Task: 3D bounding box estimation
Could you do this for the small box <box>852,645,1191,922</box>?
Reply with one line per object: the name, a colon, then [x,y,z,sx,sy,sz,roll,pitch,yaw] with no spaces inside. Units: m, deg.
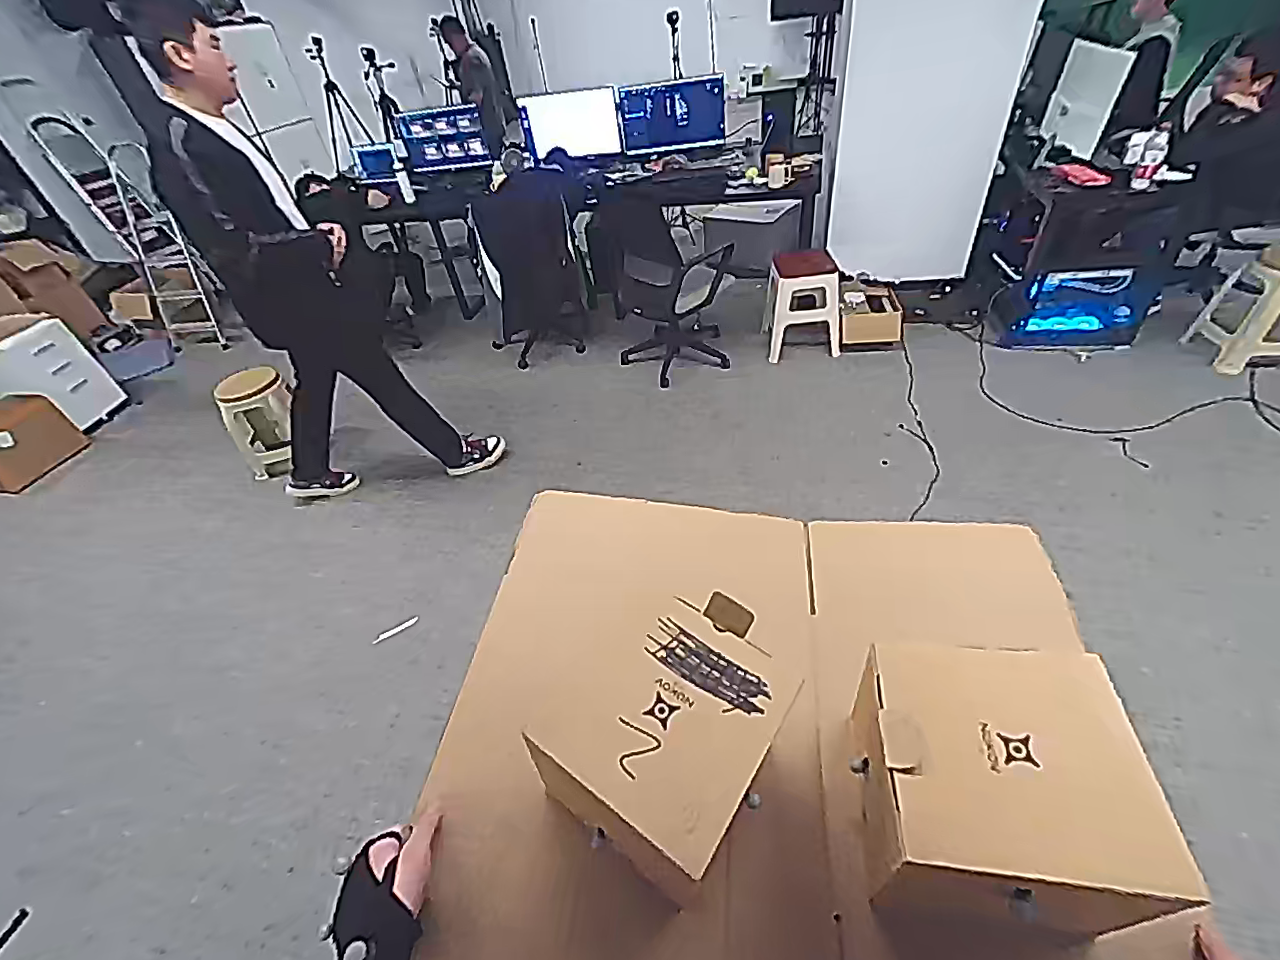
small box: [0.295,0.264,0.473,0.179,0.176,0.168,-1,45,13]
